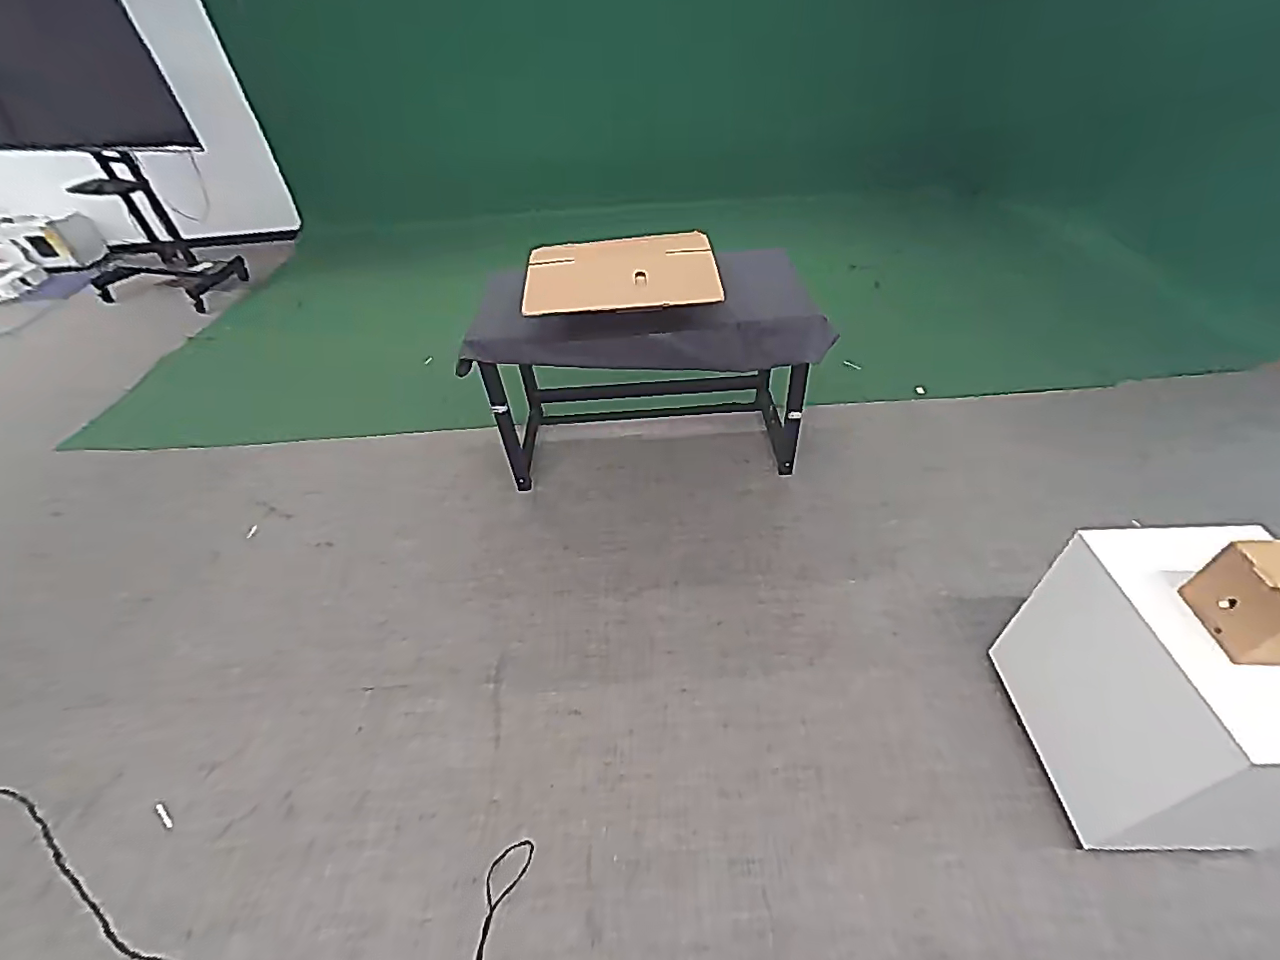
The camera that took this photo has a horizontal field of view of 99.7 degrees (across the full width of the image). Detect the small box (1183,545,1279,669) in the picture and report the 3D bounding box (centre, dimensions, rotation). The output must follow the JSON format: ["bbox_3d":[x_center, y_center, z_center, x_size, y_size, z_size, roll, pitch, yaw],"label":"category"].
[{"bbox_3d":[1.179,0.237,1.002,0.179,0.176,0.168,-1,43,2],"label":"small box"}]
